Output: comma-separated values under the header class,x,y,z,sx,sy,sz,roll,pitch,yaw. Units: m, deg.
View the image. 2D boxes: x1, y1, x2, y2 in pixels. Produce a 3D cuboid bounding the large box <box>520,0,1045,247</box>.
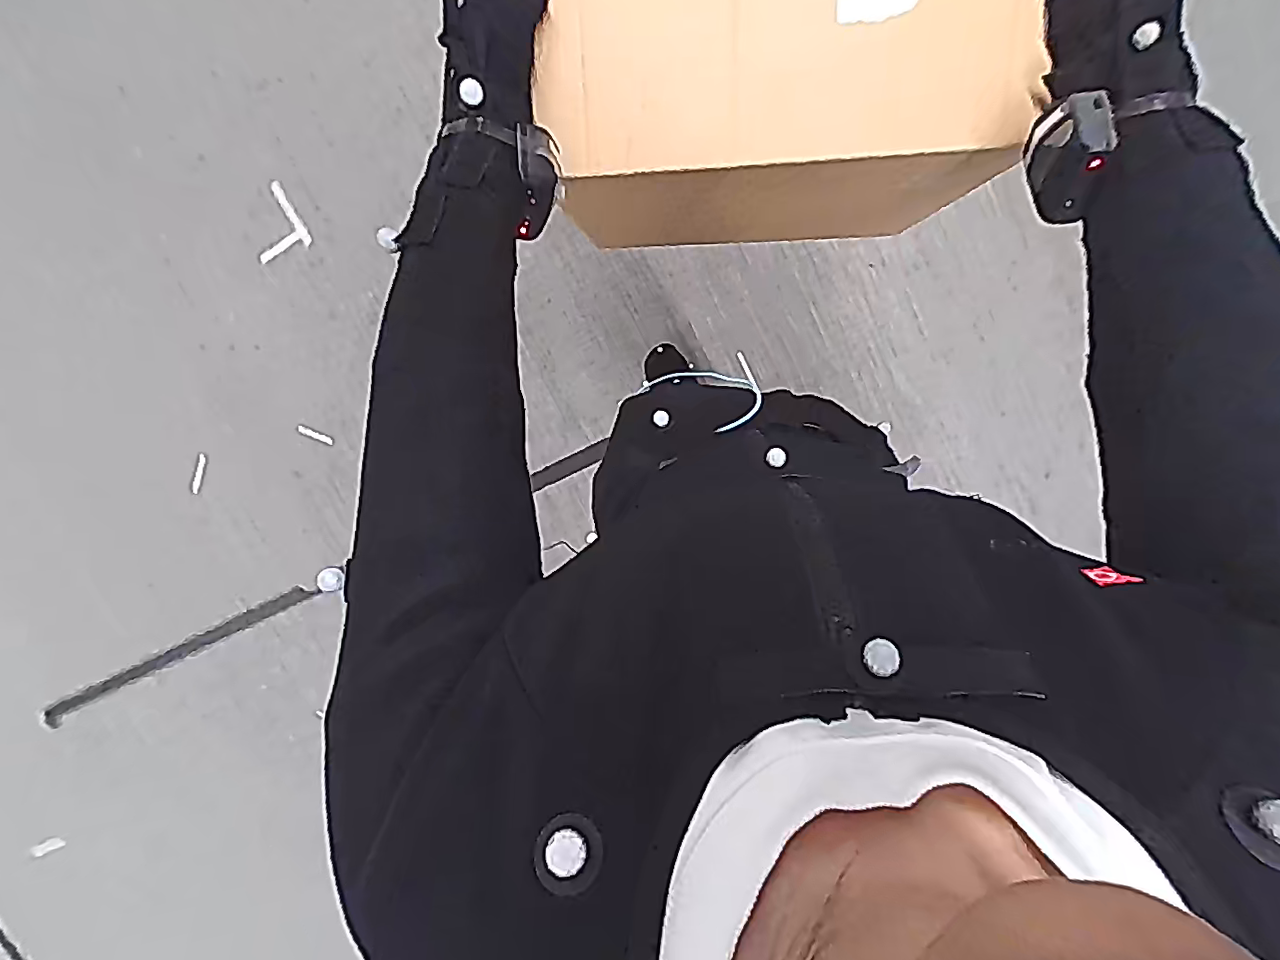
class,x,y,z,sx,sy,sz,roll,pitch,yaw
large box,0.109,-0.445,0.549,0.408,0.320,0.320,-2,103,5
